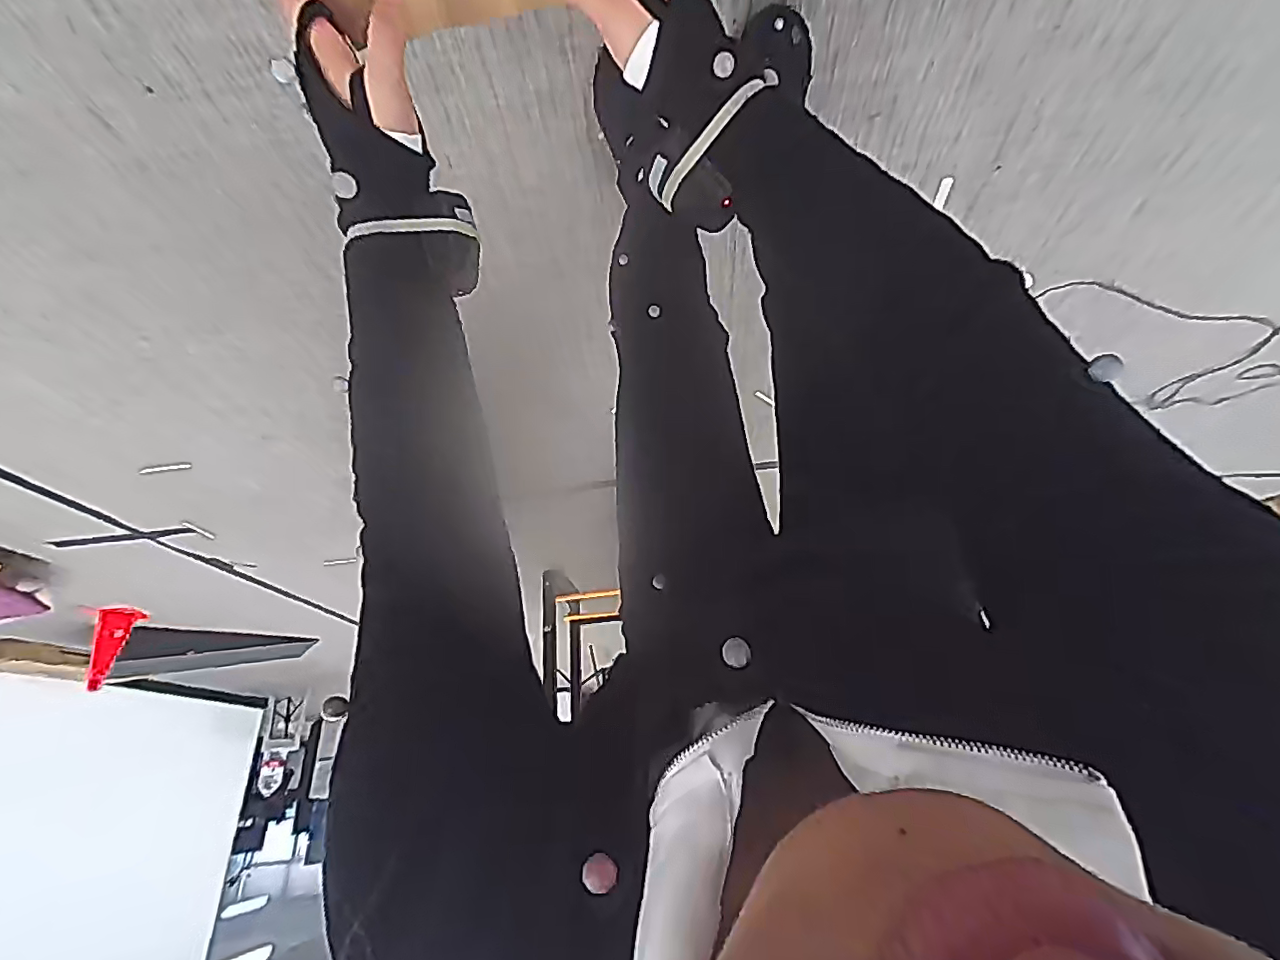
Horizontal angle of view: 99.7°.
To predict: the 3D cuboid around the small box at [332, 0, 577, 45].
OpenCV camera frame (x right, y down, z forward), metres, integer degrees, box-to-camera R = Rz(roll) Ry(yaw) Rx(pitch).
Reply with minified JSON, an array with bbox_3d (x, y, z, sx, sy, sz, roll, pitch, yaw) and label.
[{"bbox_3d":[-0.141,-0.431,0.344,0.168,0.176,0.179,-8,151,4],"label":"small box"}]
